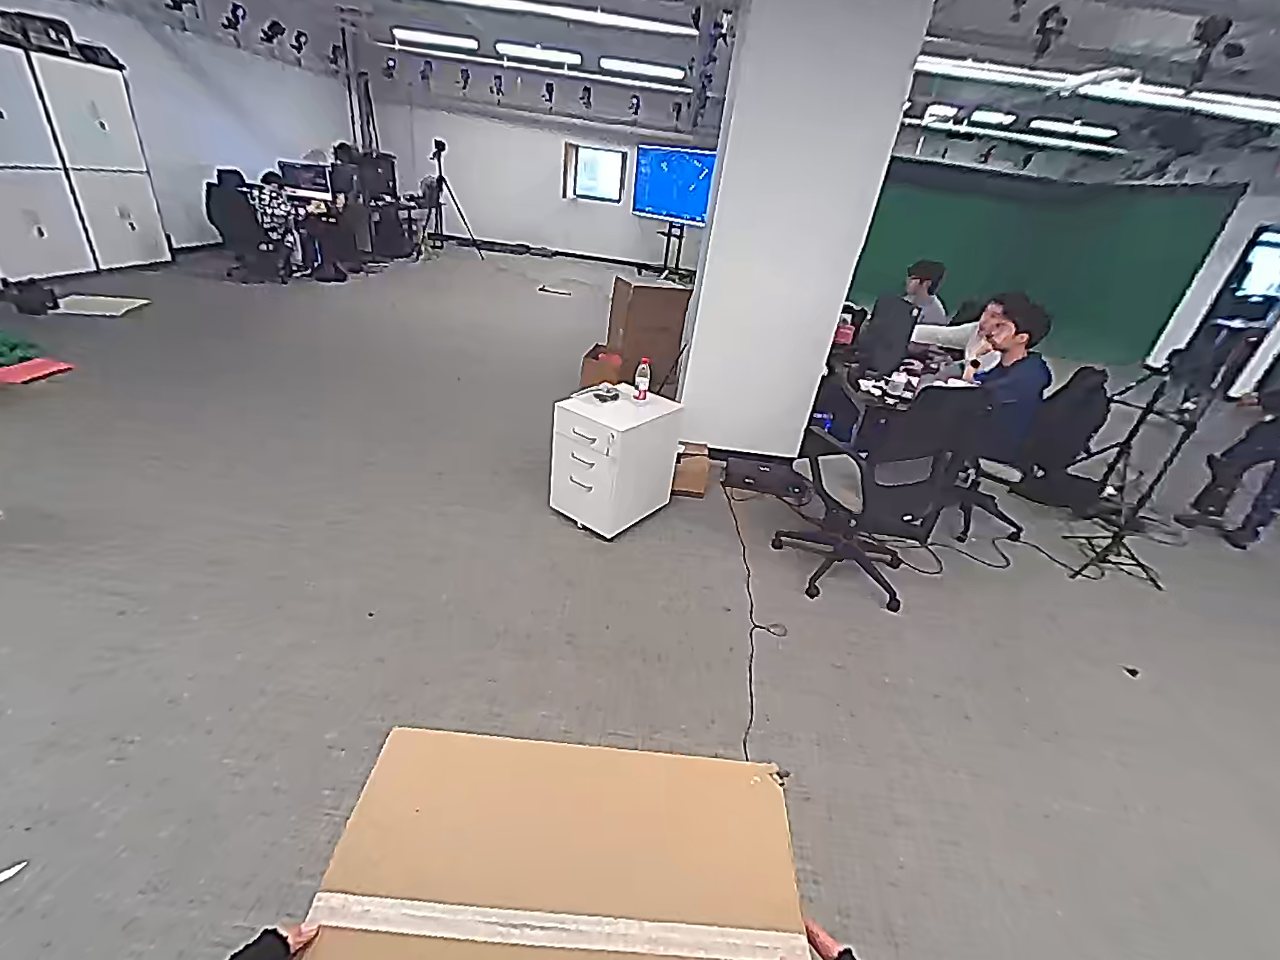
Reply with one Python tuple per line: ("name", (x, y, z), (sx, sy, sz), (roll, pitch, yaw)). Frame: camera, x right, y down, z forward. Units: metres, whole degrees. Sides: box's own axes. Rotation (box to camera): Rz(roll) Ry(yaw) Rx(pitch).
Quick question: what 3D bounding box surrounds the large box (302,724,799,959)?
("large box", (-0.080, 0.489, 0.542), (0.408, 0.320, 0.320), (7, 35, -1))
